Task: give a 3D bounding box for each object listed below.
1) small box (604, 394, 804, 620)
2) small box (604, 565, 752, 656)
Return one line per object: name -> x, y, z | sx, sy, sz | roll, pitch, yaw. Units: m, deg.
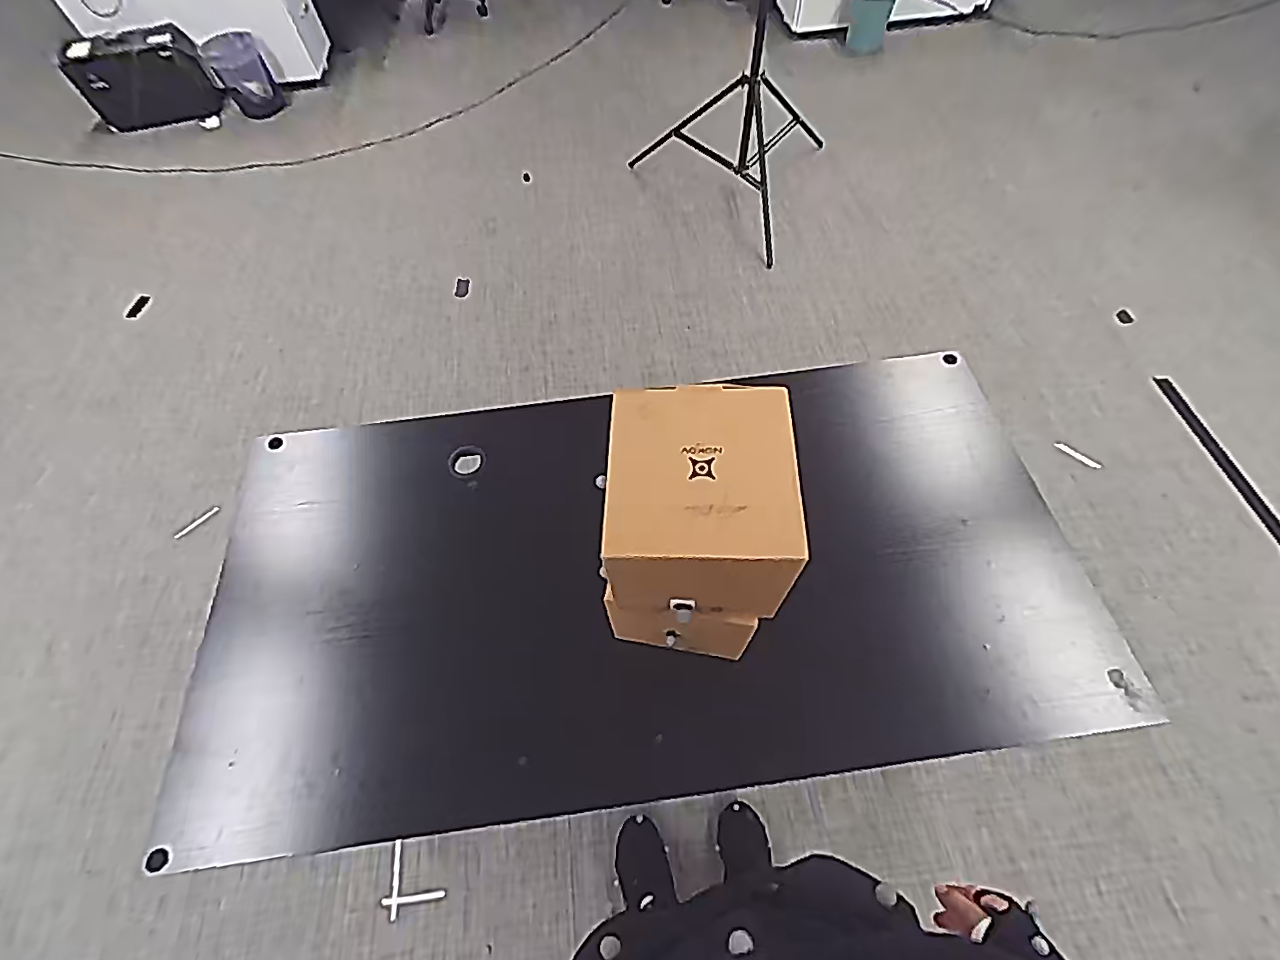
small box -> 0.058, 0.032, 0.548 | 0.168, 0.176, 0.179 | 0, 61, 4
small box -> 0.059, 0.112, 0.690 | 0.168, 0.176, 0.179 | 9, 60, 7
